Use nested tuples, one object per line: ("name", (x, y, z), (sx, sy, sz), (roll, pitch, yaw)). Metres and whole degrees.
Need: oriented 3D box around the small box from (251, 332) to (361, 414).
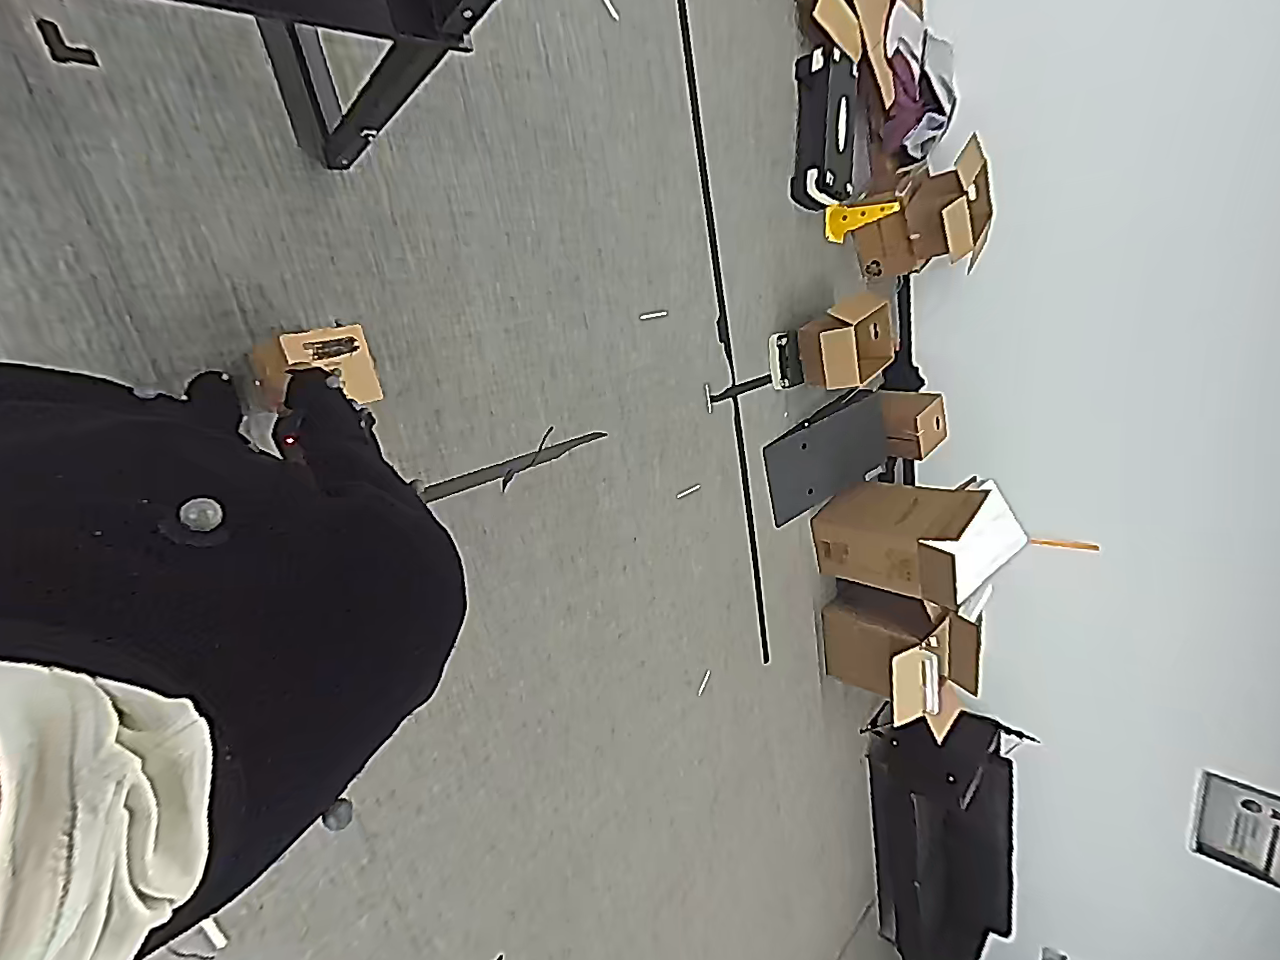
("small box", (-0.838, -0.269, 1.356), (0.179, 0.176, 0.168), (-26, 113, -37))
